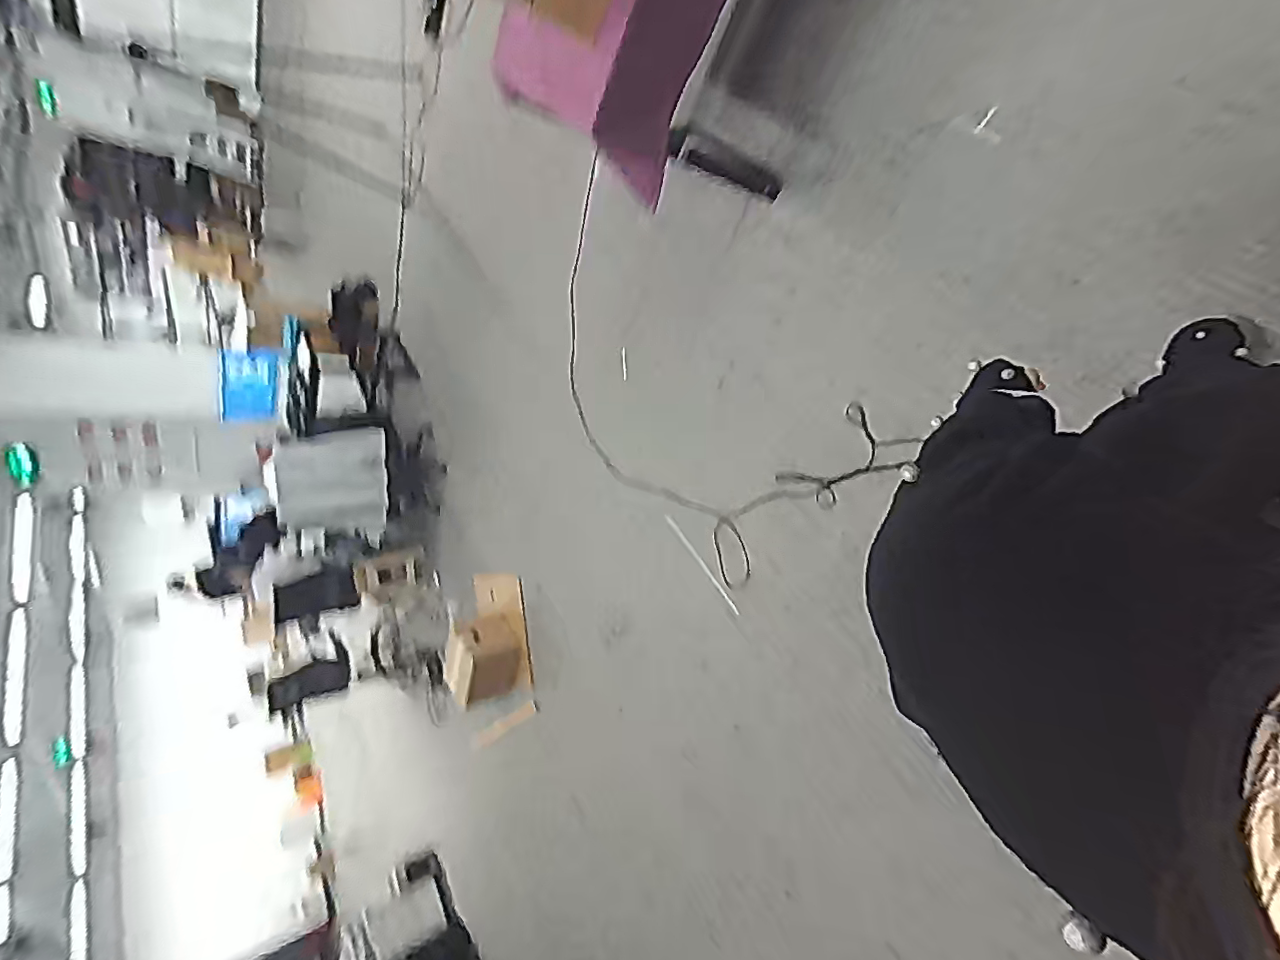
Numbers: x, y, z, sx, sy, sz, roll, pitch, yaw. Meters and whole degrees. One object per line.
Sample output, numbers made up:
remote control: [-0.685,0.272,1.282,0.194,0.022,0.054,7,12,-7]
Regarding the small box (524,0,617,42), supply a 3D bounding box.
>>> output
small box: [-0.147,-1.109,1.180,0.168,0.176,0.179,55,130,31]
